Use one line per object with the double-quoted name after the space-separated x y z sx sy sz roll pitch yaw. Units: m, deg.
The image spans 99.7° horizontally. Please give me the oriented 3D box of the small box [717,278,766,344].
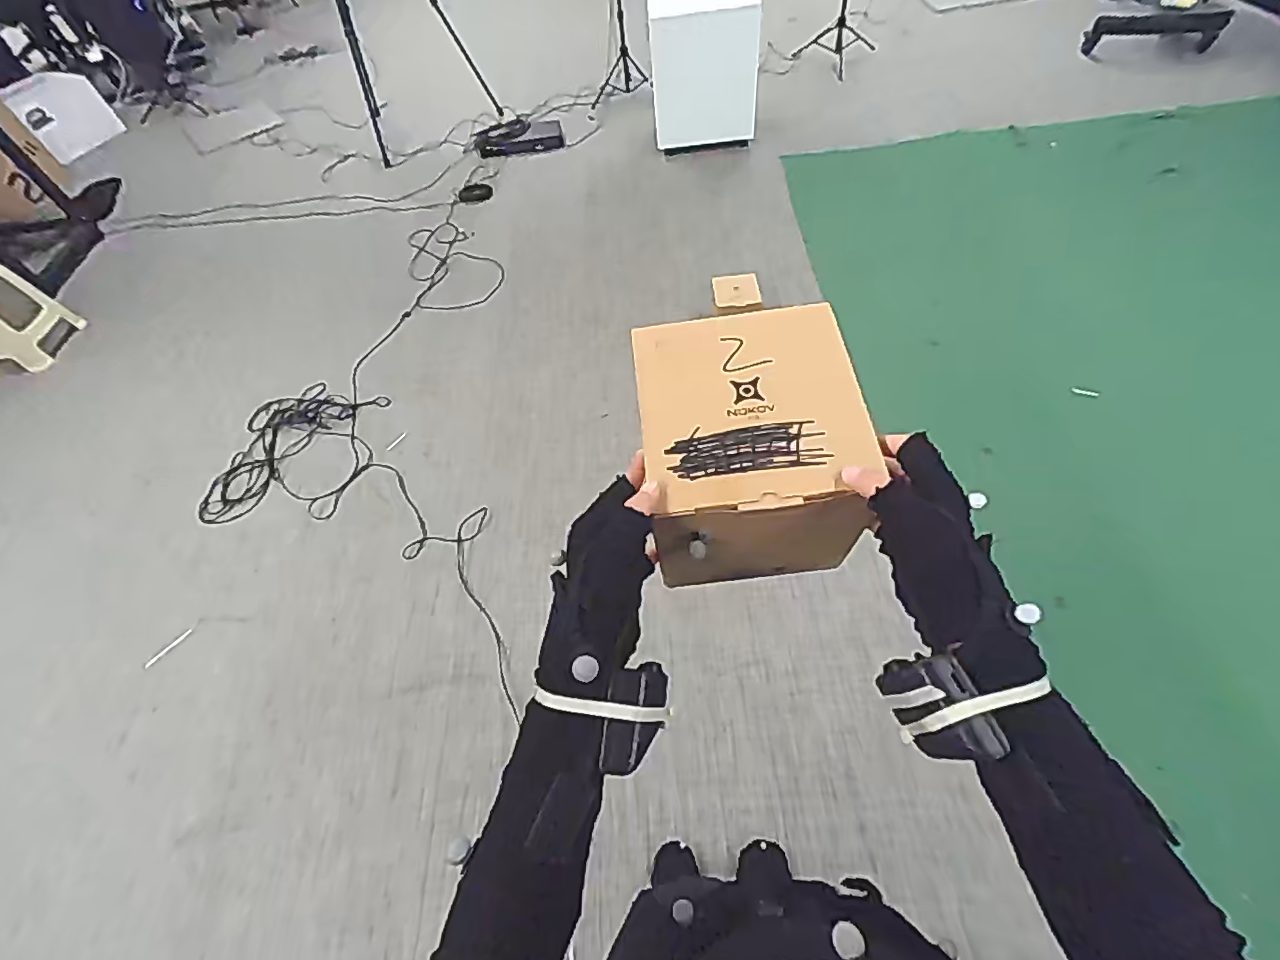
0.384 -0.647 2.075 0.168 0.176 0.179 -5 56 5 "small box"
